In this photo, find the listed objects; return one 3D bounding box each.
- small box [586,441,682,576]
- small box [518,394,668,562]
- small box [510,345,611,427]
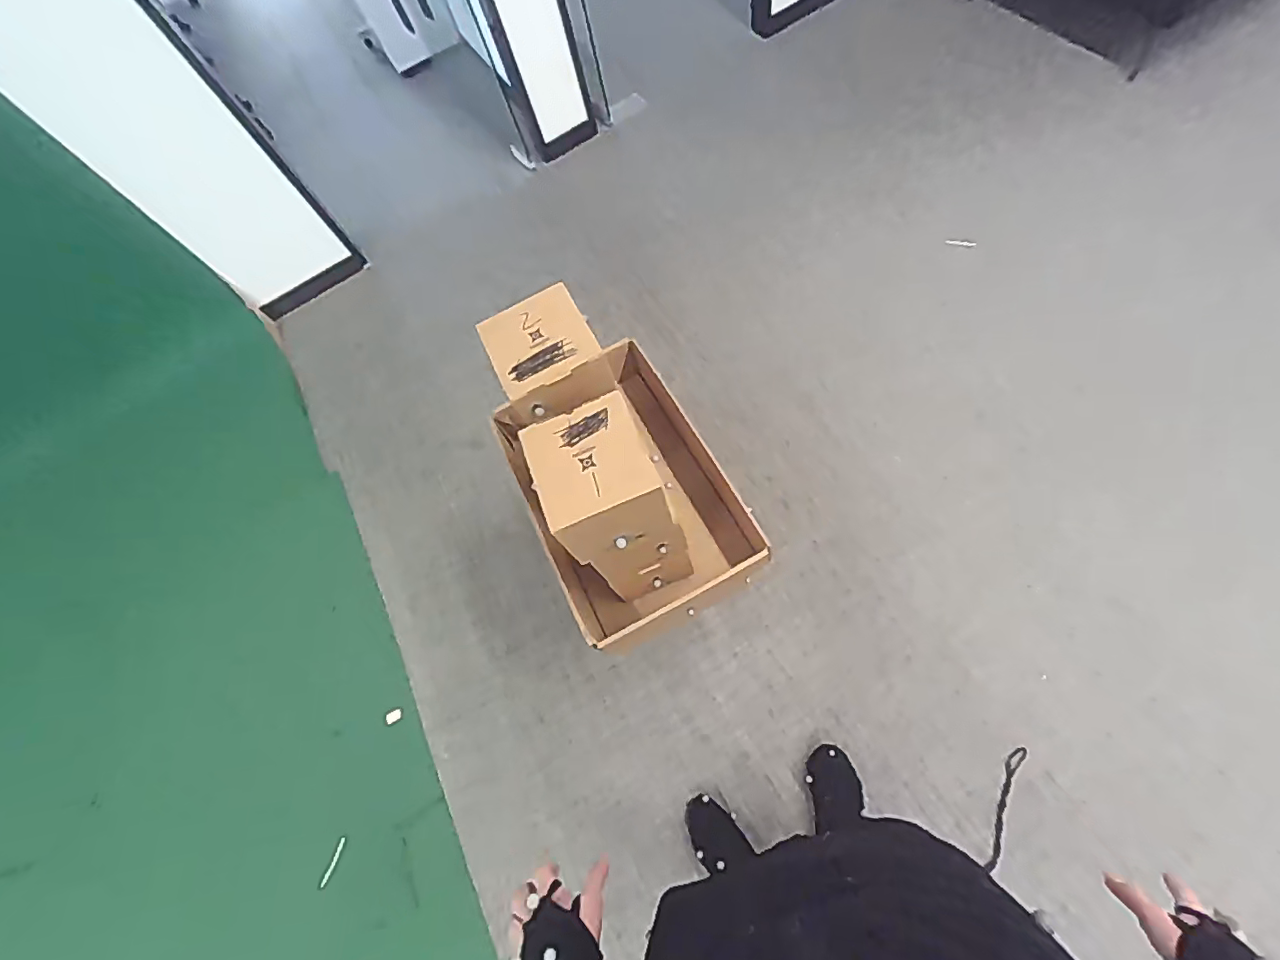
[{"bbox_3d":[-0.032,0.062,0.988,0.168,0.176,0.179,-23,63,-1],"label":"small box"},{"bbox_3d":[-0.067,0.004,0.838,0.168,0.176,0.179,-23,65,0],"label":"small box"},{"bbox_3d":[-0.136,-0.130,1.096,0.168,0.176,0.179,-29,67,-3],"label":"small box"}]
